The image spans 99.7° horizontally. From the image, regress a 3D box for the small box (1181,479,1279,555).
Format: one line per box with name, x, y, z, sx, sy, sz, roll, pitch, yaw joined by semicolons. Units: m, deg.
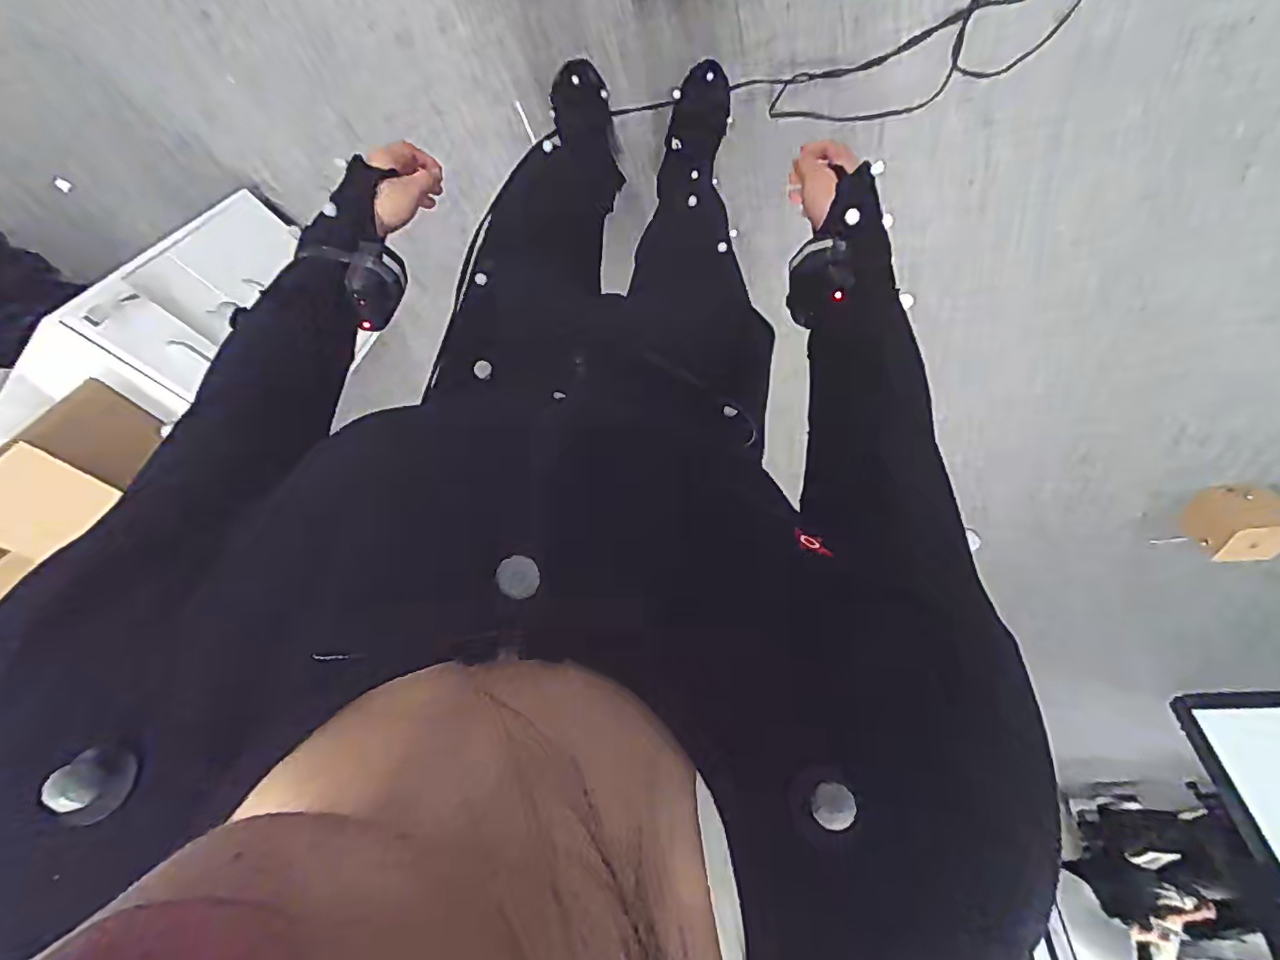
small box;1.863;0.116;1.693;0.168;0.176;0.179;-5;137;12
